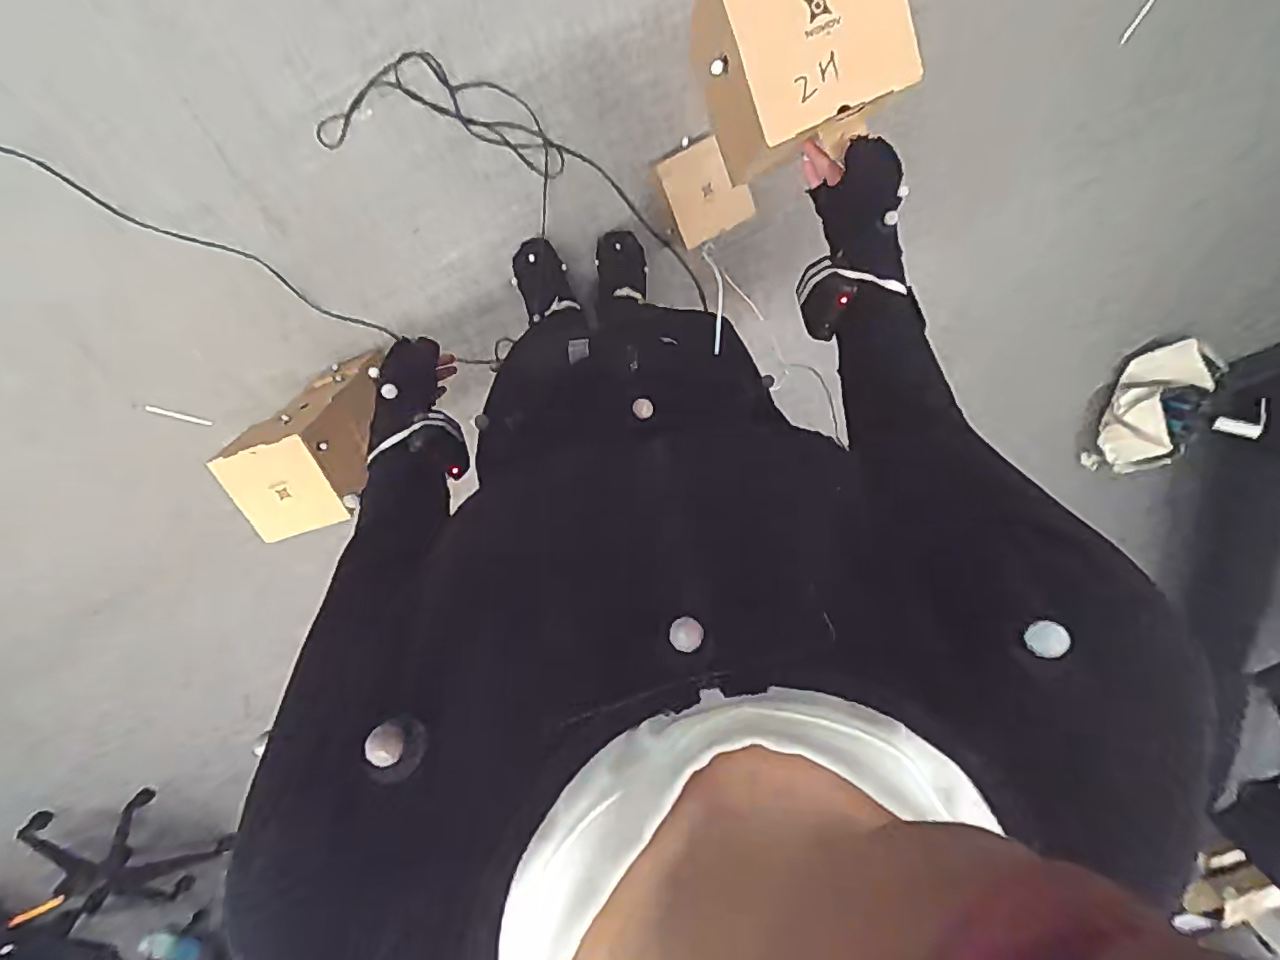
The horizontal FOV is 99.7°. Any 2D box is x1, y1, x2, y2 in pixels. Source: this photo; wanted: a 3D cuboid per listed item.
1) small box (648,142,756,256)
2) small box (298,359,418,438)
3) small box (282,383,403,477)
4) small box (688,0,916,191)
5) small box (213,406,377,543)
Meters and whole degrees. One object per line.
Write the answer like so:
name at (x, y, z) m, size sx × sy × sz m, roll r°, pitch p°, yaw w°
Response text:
small box at (0.131, -0.620, 1.186) m, size 0.168 × 0.176 × 0.179 m, roll -25°, pitch 119°, yaw 4°
small box at (-0.665, -0.177, 1.297) m, size 0.168 × 0.176 × 0.179 m, roll -22°, pitch 118°, yaw 3°
small box at (-0.642, -0.092, 1.158) m, size 0.168 × 0.176 × 0.179 m, roll -21°, pitch 120°, yaw 3°
small box at (0.162, -0.453, 0.593) m, size 0.168 × 0.176 × 0.179 m, roll -23°, pitch 106°, yaw 4°
small box at (-0.628, -0.014, 1.016) m, size 0.168 × 0.176 × 0.179 m, roll -17°, pitch 119°, yaw 1°
